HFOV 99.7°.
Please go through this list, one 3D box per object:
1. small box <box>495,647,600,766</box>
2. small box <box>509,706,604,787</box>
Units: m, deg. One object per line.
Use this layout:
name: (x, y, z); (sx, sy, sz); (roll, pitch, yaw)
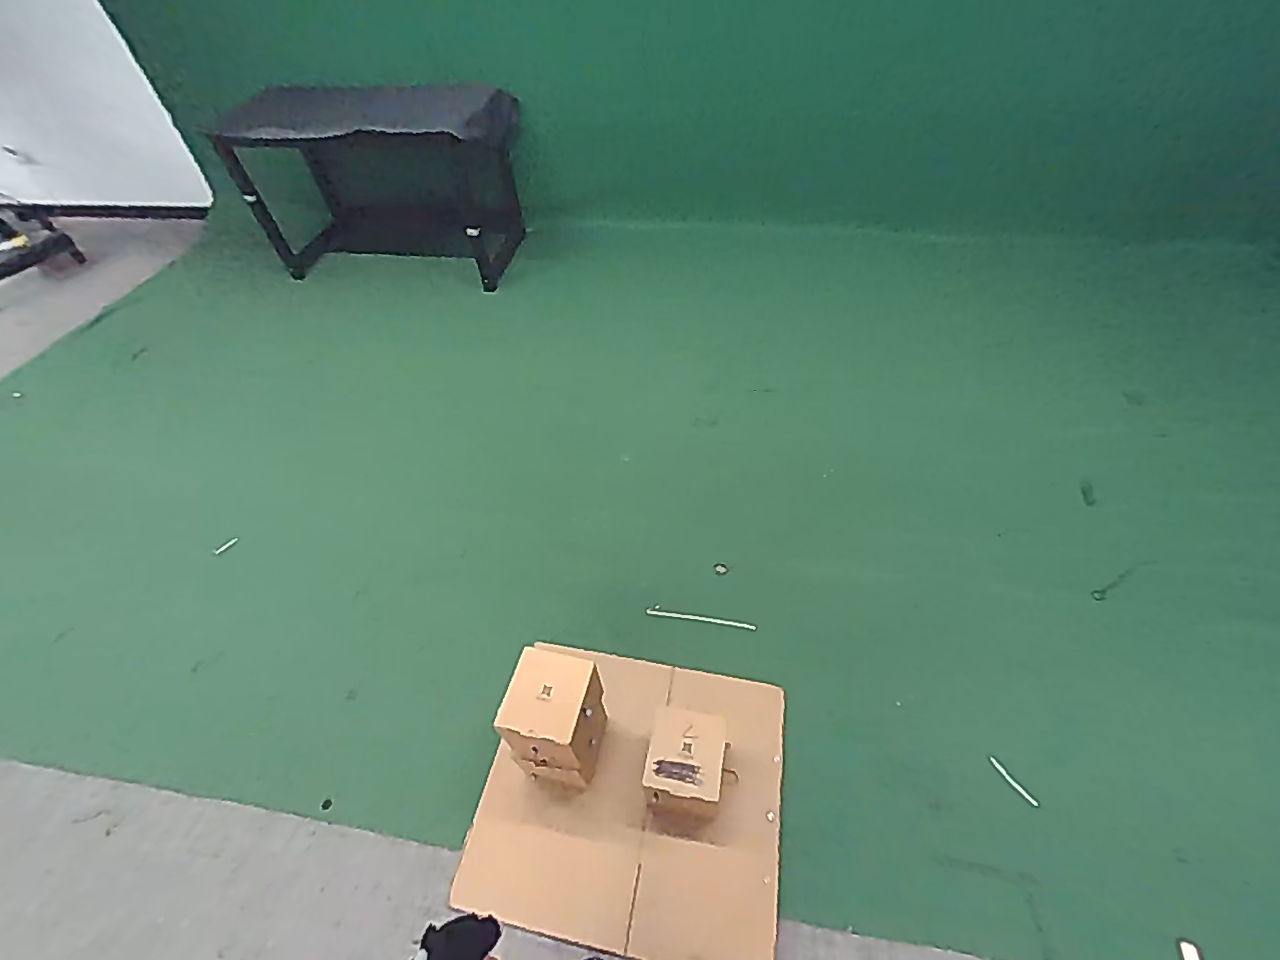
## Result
small box: (-0.190, 0.495, 1.180); (0.168, 0.176, 0.179); (9, 50, 12)
small box: (-0.189, 0.611, 1.295); (0.168, 0.176, 0.179); (8, 49, 11)
